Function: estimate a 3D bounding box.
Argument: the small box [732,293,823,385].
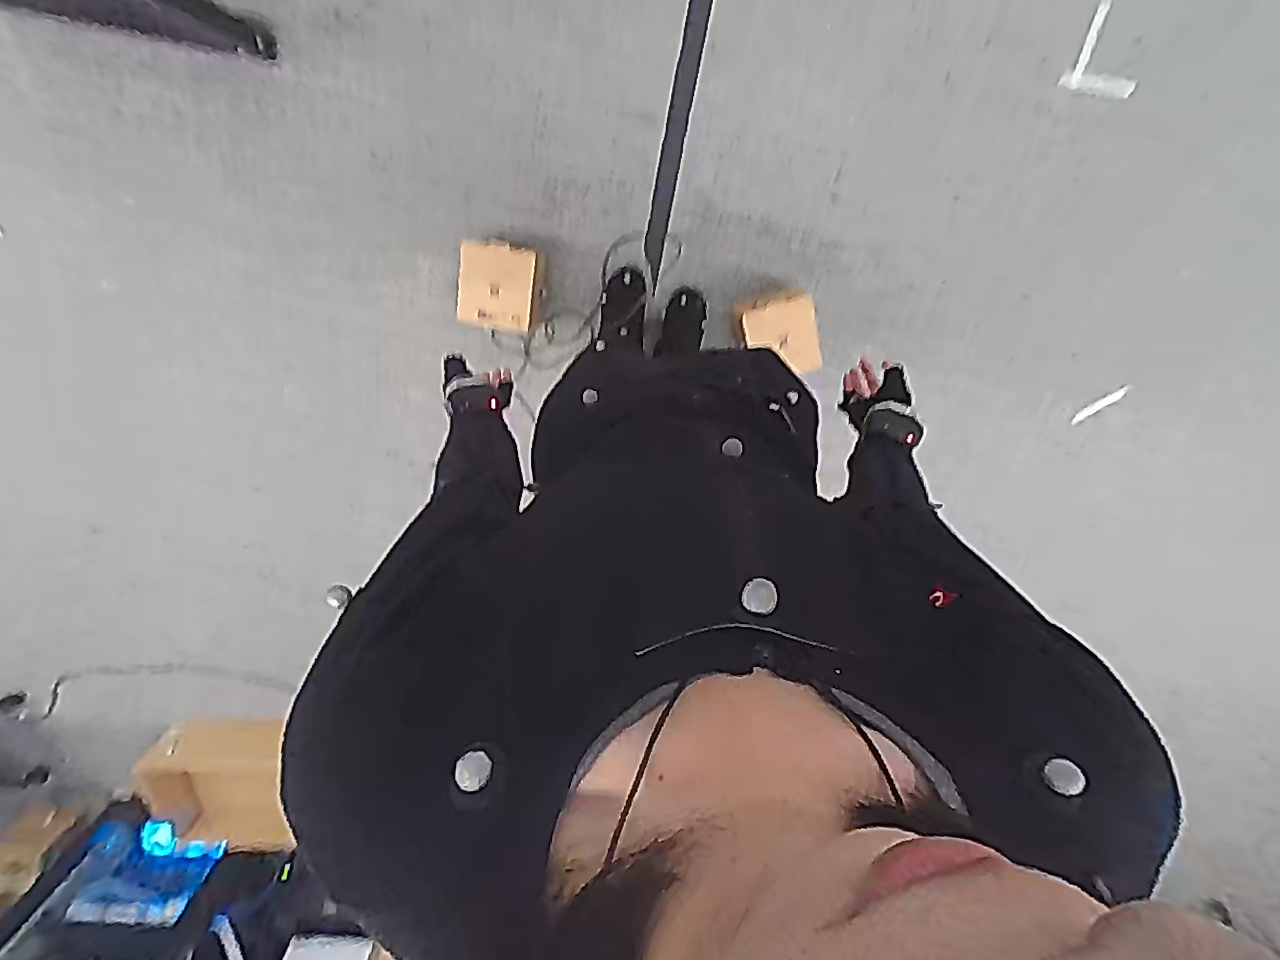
[{"bbox_3d":[0.335,-0.355,1.338,0.168,0.176,0.179,-15,113,7],"label":"small box"}]

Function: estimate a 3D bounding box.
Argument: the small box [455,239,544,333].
[{"bbox_3d":[-0.326,-0.457,1.279,0.168,0.176,0.179,10,110,-5],"label":"small box"}]
